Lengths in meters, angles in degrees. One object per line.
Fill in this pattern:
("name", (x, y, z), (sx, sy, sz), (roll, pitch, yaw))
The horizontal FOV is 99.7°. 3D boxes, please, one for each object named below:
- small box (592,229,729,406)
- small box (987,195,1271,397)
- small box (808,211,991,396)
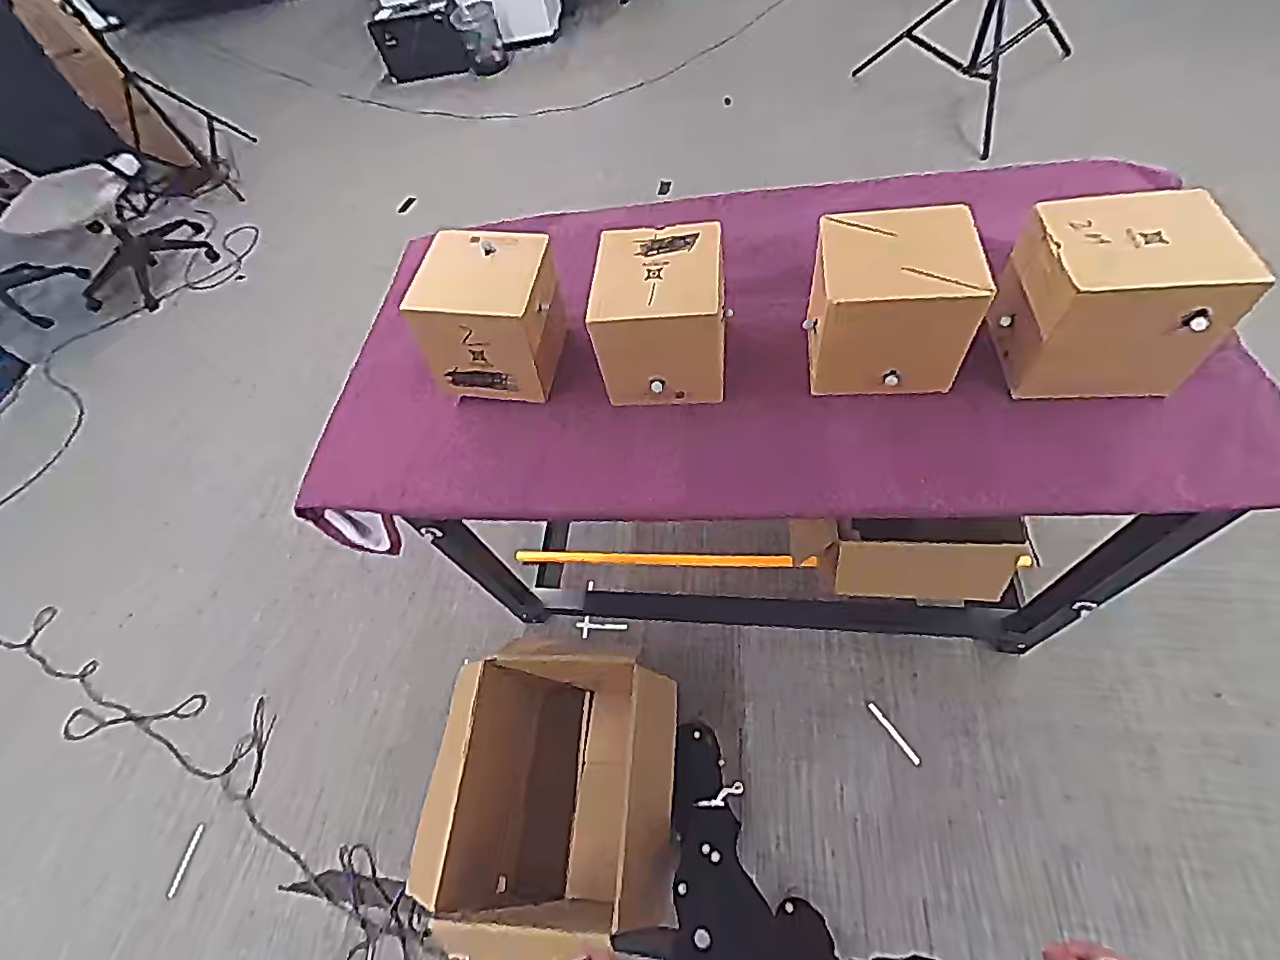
("small box", (0.040, -0.226, 0.770), (0.168, 0.176, 0.179), (0, 59, 11))
("small box", (0.562, -0.215, 0.657), (0.179, 0.176, 0.168), (1, 56, 12))
("small box", (0.323, -0.228, 0.712), (0.179, 0.176, 0.168), (1, 57, 12))
